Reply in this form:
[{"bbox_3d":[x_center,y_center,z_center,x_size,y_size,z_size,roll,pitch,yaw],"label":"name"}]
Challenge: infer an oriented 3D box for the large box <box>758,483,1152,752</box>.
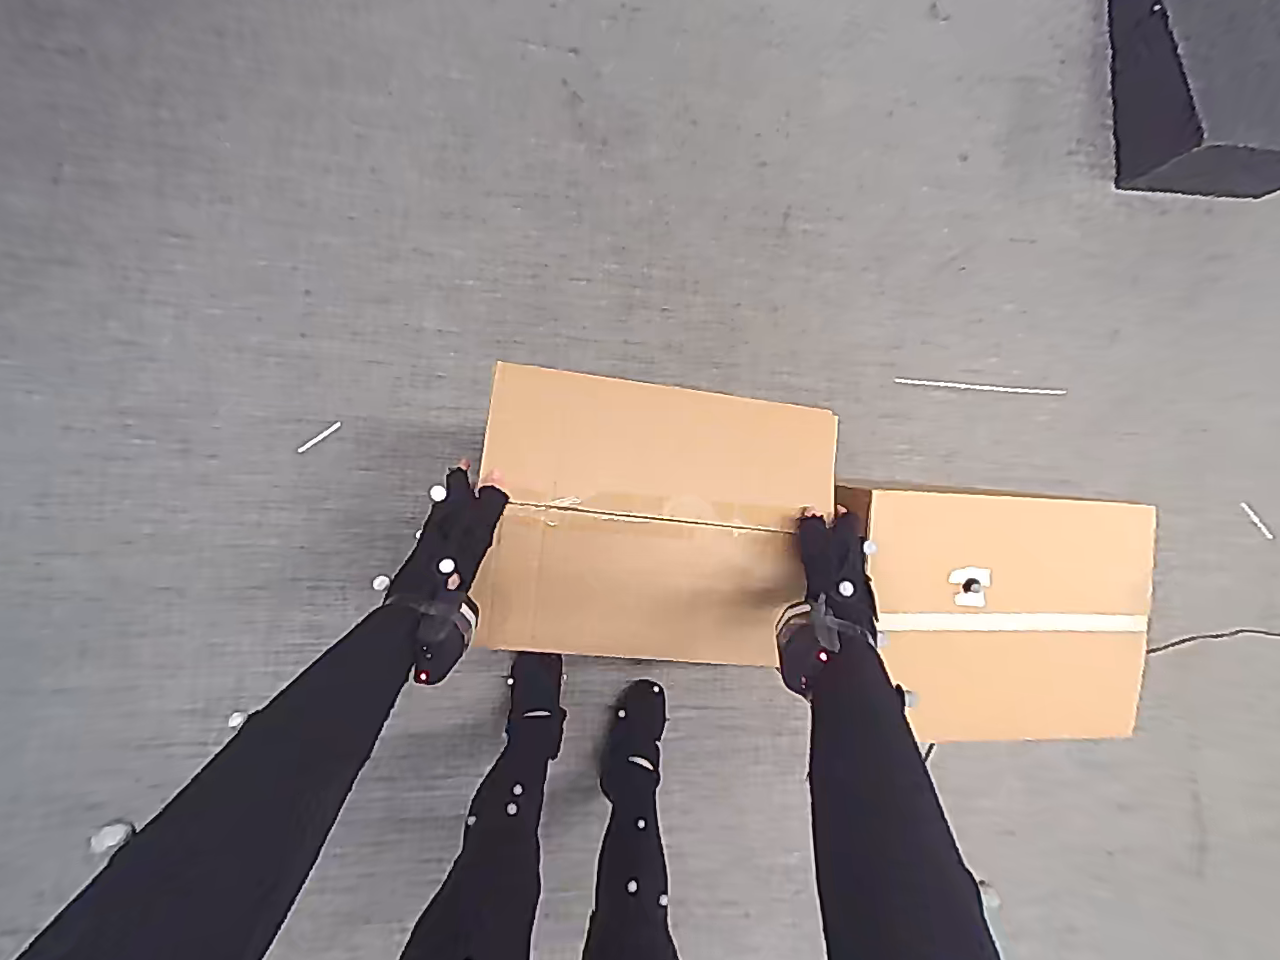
[{"bbox_3d":[0.428,0.172,0.813,0.408,0.320,0.320,3,92,-8],"label":"large box"}]
